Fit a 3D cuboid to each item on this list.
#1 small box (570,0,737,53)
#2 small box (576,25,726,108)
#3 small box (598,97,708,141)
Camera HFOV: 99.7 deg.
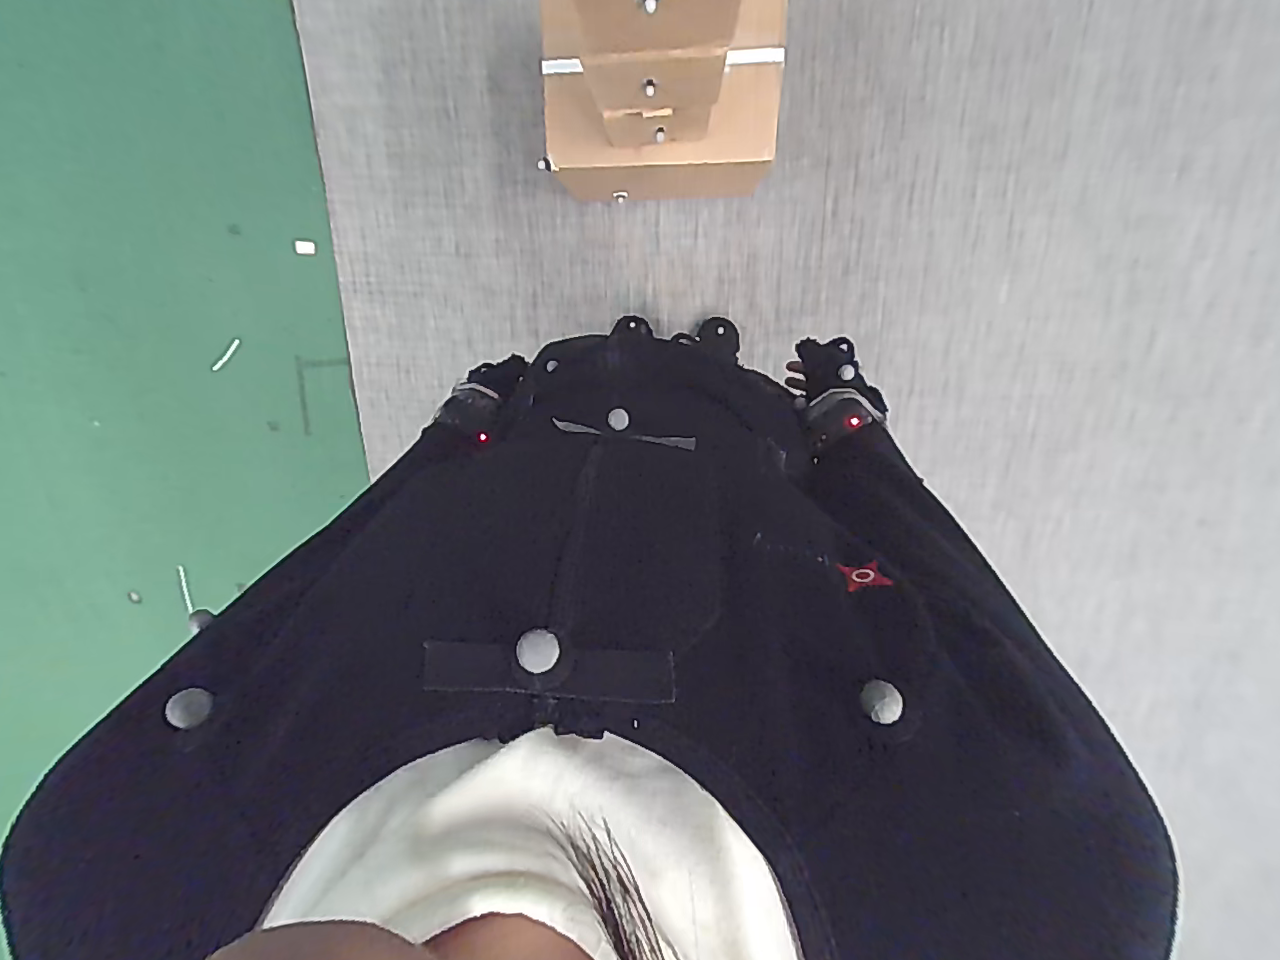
[{"bbox_3d":[0.011,-0.552,0.530,0.179,0.176,0.168,-2,109,4],"label":"small box"},{"bbox_3d":[0.017,-0.596,0.686,0.179,0.176,0.168,0,108,5],"label":"small box"},{"bbox_3d":[0.021,-0.648,0.843,0.168,0.176,0.179,-3,109,5],"label":"small box"}]
